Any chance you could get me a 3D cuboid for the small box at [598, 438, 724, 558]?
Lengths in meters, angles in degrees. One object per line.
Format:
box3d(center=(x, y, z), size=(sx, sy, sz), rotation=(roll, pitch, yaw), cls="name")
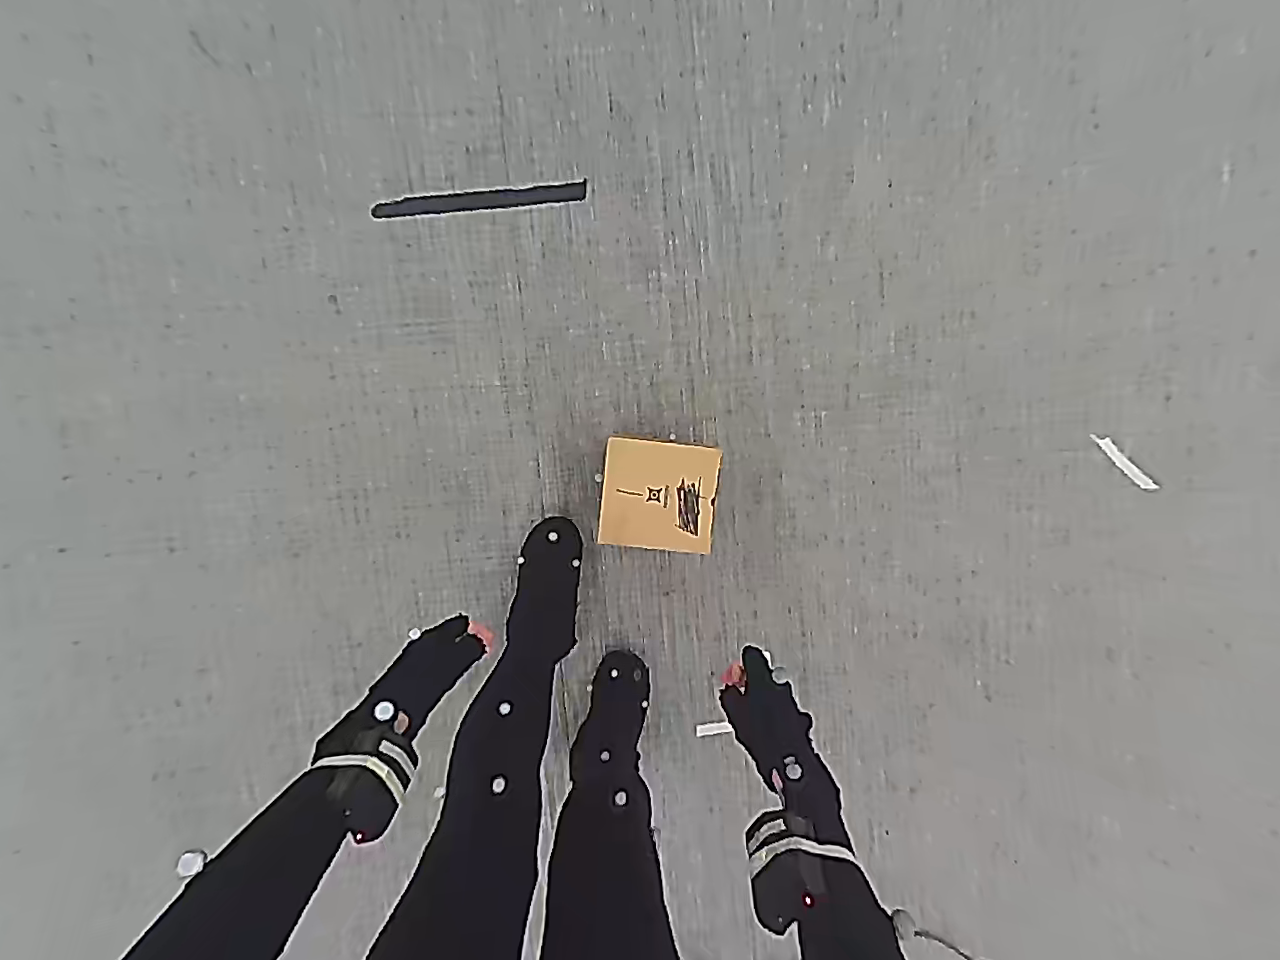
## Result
box3d(center=(0.028, 0.022, 0.891), size=(0.179, 0.176, 0.168), rotation=(6, 95, -2), cls="small box")
